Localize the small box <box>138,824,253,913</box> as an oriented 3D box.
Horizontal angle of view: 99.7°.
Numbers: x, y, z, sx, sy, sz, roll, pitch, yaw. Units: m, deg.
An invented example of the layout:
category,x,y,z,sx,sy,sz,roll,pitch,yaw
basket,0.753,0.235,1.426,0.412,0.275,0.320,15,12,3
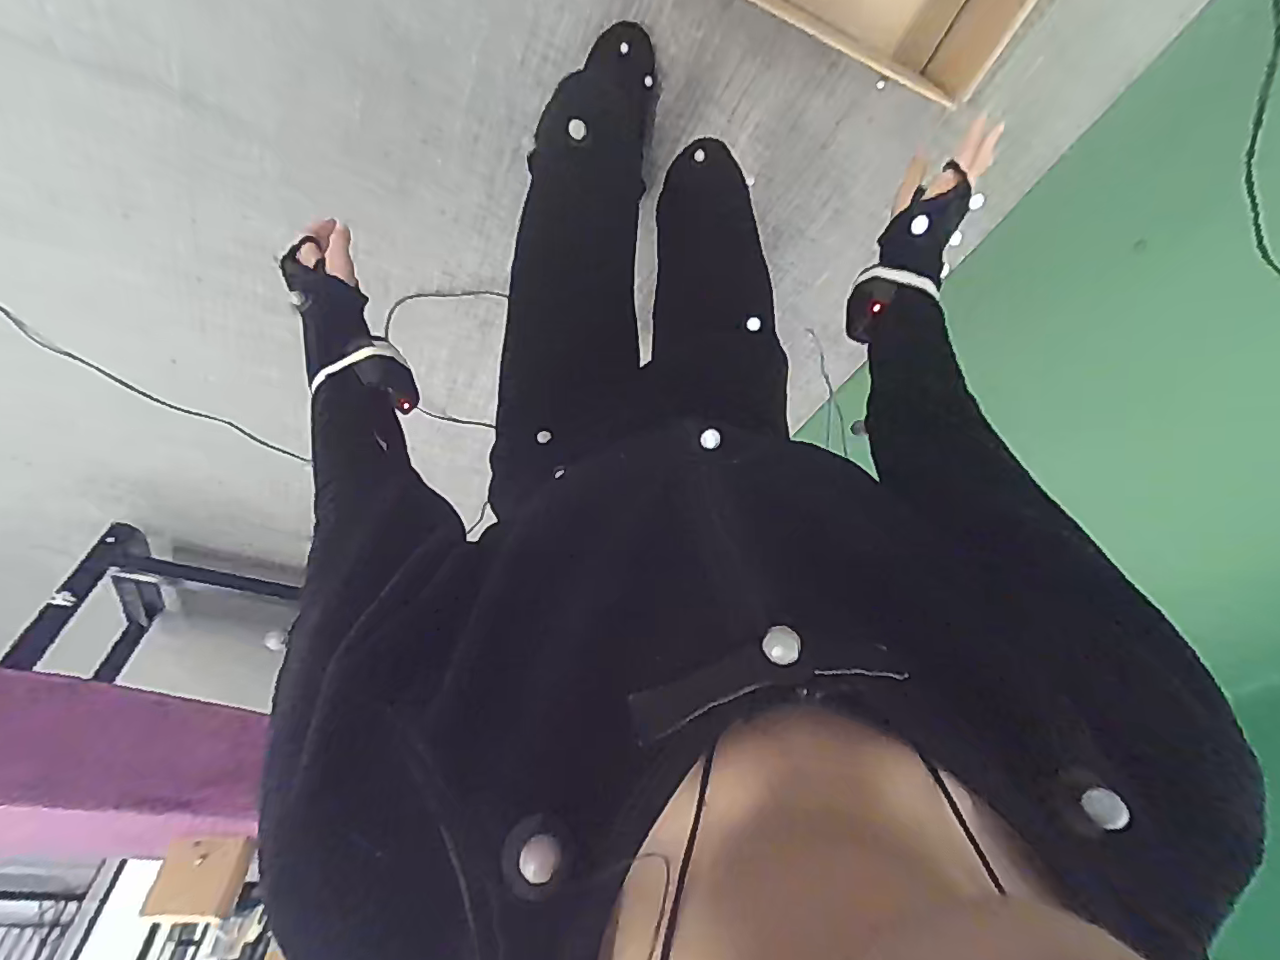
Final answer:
category,x,y,z,sx,sy,sz,roll,pitch,yaw
small box,-1.159,1.030,1.430,0.168,0.176,0.179,12,135,-15
